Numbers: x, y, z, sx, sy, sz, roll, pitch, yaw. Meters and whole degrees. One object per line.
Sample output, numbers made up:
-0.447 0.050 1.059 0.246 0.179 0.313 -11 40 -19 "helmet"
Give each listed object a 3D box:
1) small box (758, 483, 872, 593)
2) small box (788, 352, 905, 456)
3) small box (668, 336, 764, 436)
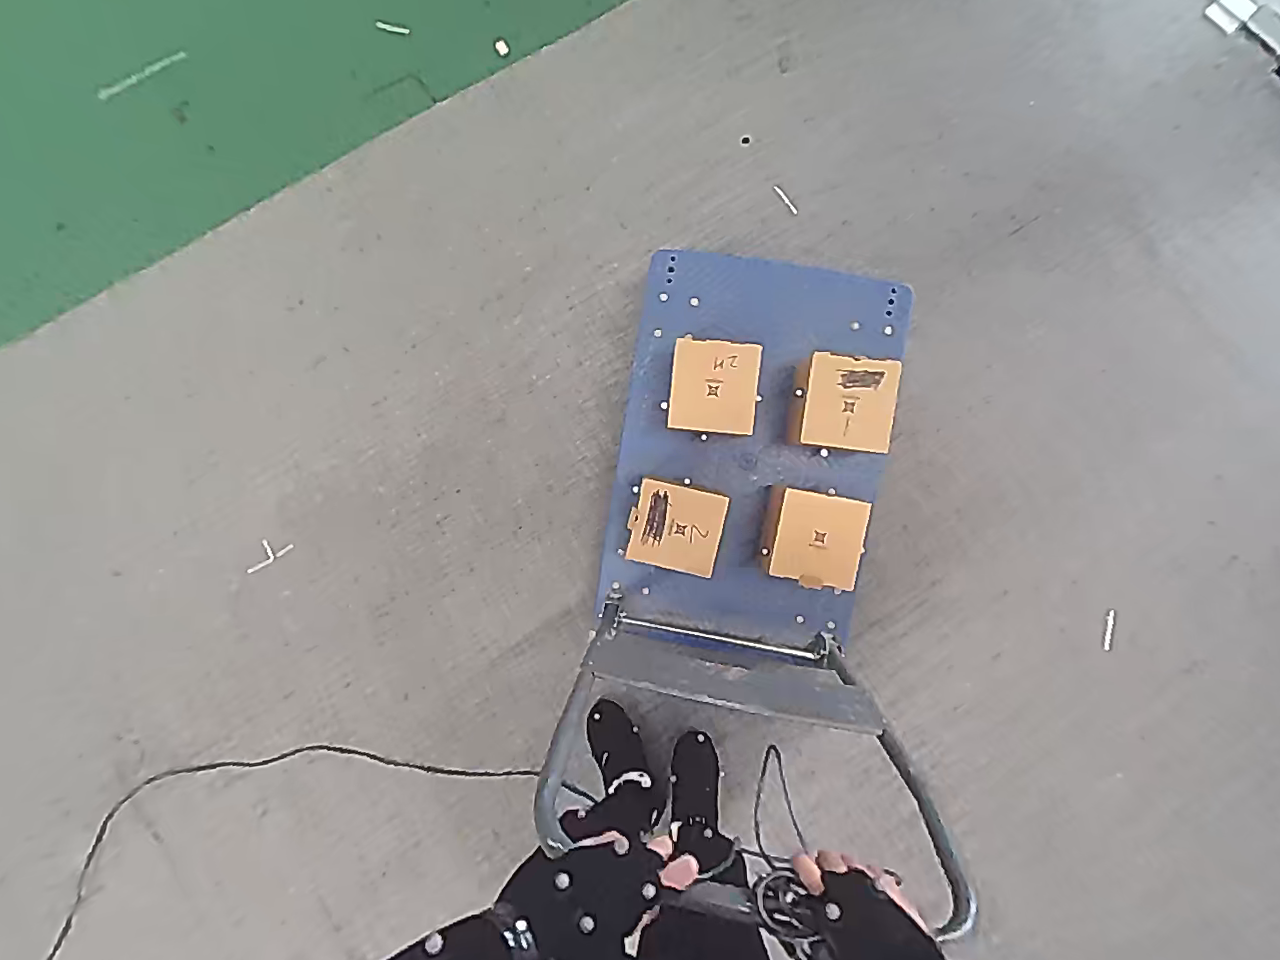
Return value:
0.348 0.109 1.112 0.168 0.176 0.179 12 96 4 "small box"
0.405 -0.148 1.092 0.168 0.176 0.179 9 95 5 "small box"
0.152 -0.185 1.112 0.168 0.176 0.179 7 94 4 "small box"
